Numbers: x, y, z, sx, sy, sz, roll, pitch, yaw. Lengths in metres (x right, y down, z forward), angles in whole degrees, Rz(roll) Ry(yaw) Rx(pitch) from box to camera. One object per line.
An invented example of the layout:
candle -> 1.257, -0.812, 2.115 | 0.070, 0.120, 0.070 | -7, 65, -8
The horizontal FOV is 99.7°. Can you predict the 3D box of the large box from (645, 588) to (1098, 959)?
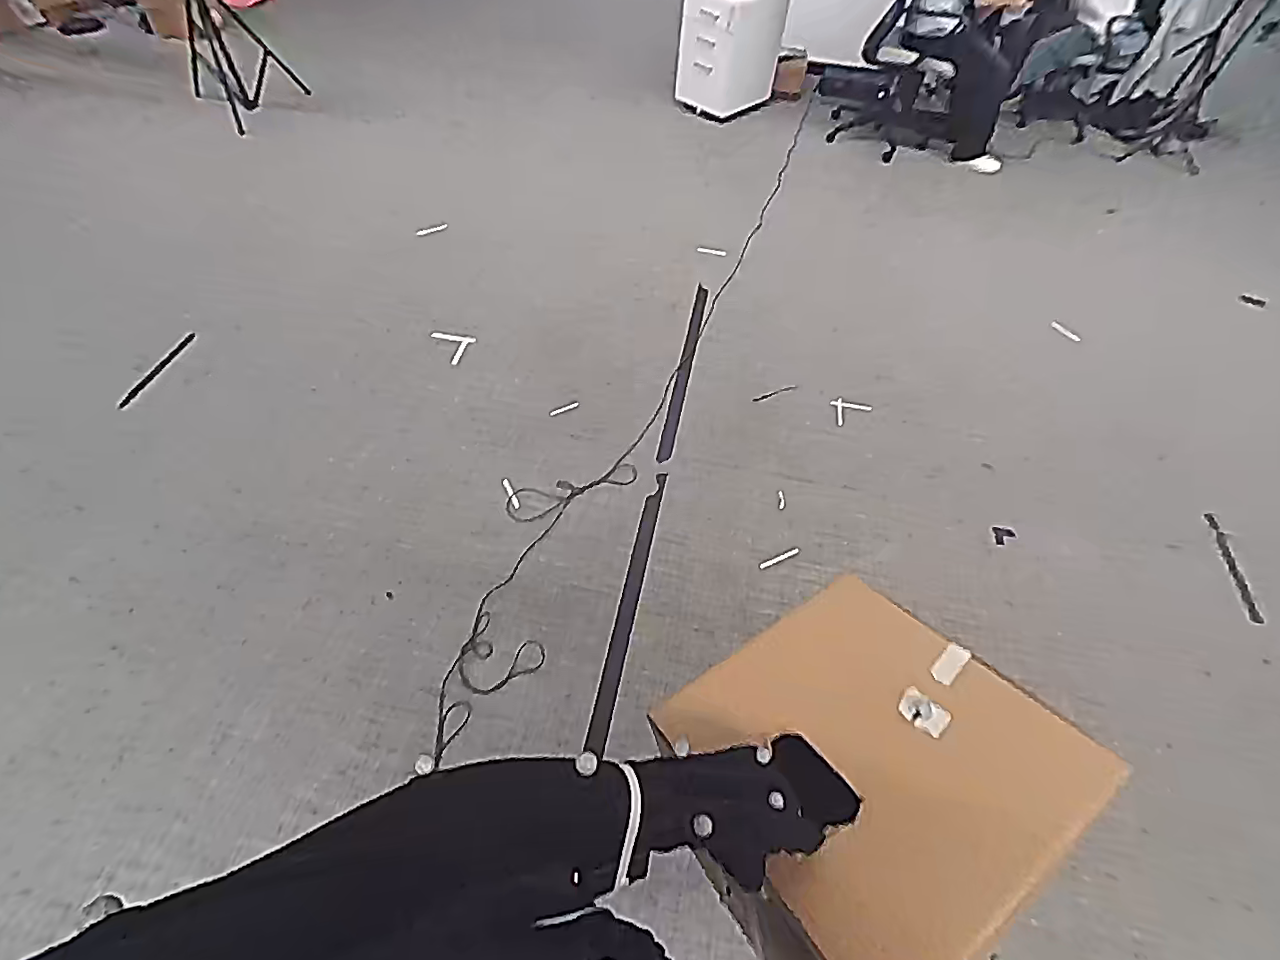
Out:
large box -> 0.248, 0.415, 0.650 | 0.320, 0.408, 0.320 | -28, 38, -17
